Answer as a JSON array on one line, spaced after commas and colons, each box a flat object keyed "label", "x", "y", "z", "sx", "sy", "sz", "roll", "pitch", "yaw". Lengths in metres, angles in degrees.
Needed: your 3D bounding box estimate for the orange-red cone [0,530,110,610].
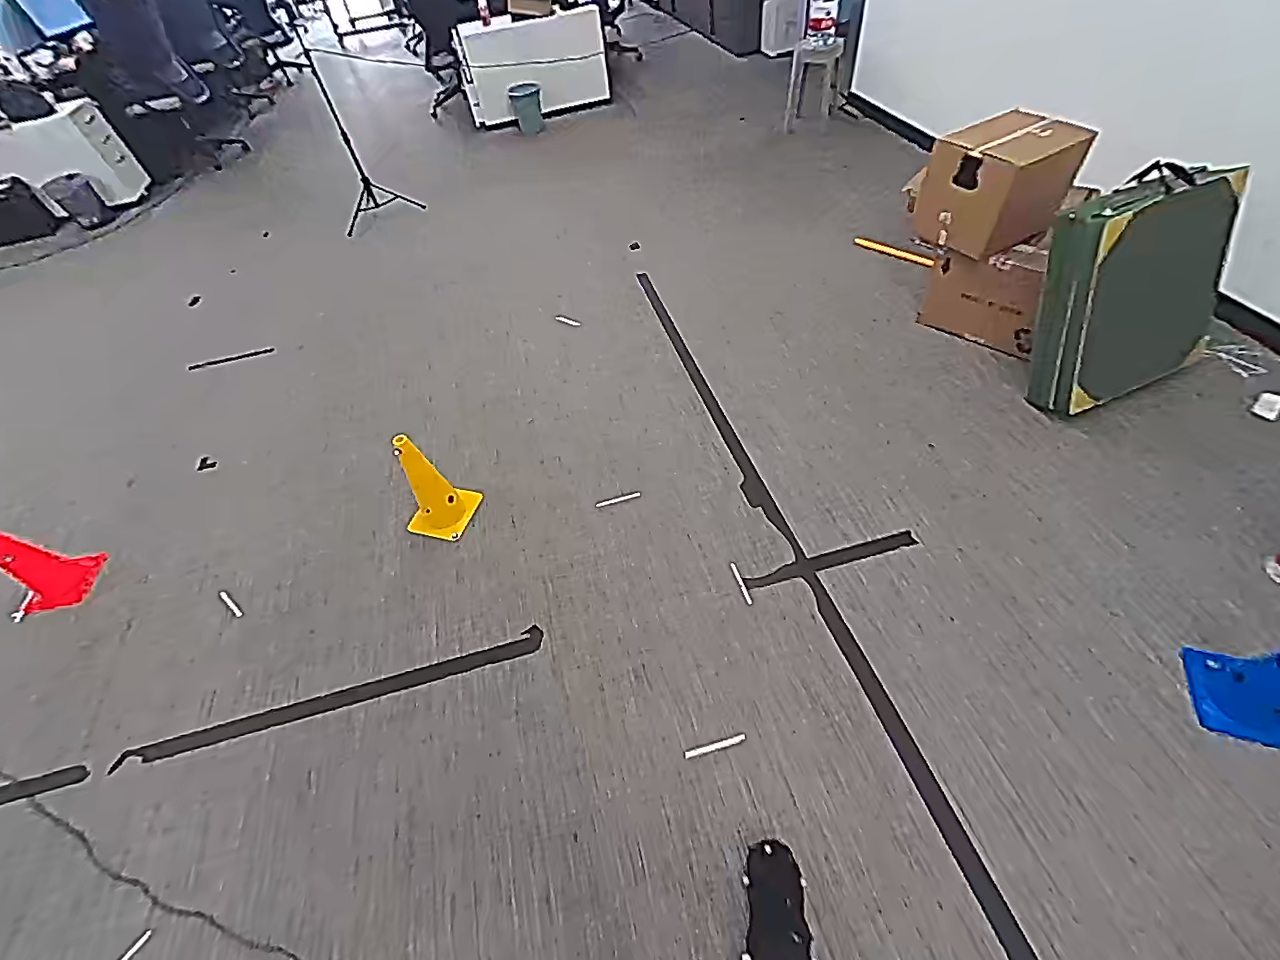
[{"label": "orange-red cone", "x": -1.948, "y": 0.233, "z": 1.701, "sx": 0.199, "sy": 0.360, "sz": 0.198, "roll": -9, "pitch": 51, "yaw": -1}]
